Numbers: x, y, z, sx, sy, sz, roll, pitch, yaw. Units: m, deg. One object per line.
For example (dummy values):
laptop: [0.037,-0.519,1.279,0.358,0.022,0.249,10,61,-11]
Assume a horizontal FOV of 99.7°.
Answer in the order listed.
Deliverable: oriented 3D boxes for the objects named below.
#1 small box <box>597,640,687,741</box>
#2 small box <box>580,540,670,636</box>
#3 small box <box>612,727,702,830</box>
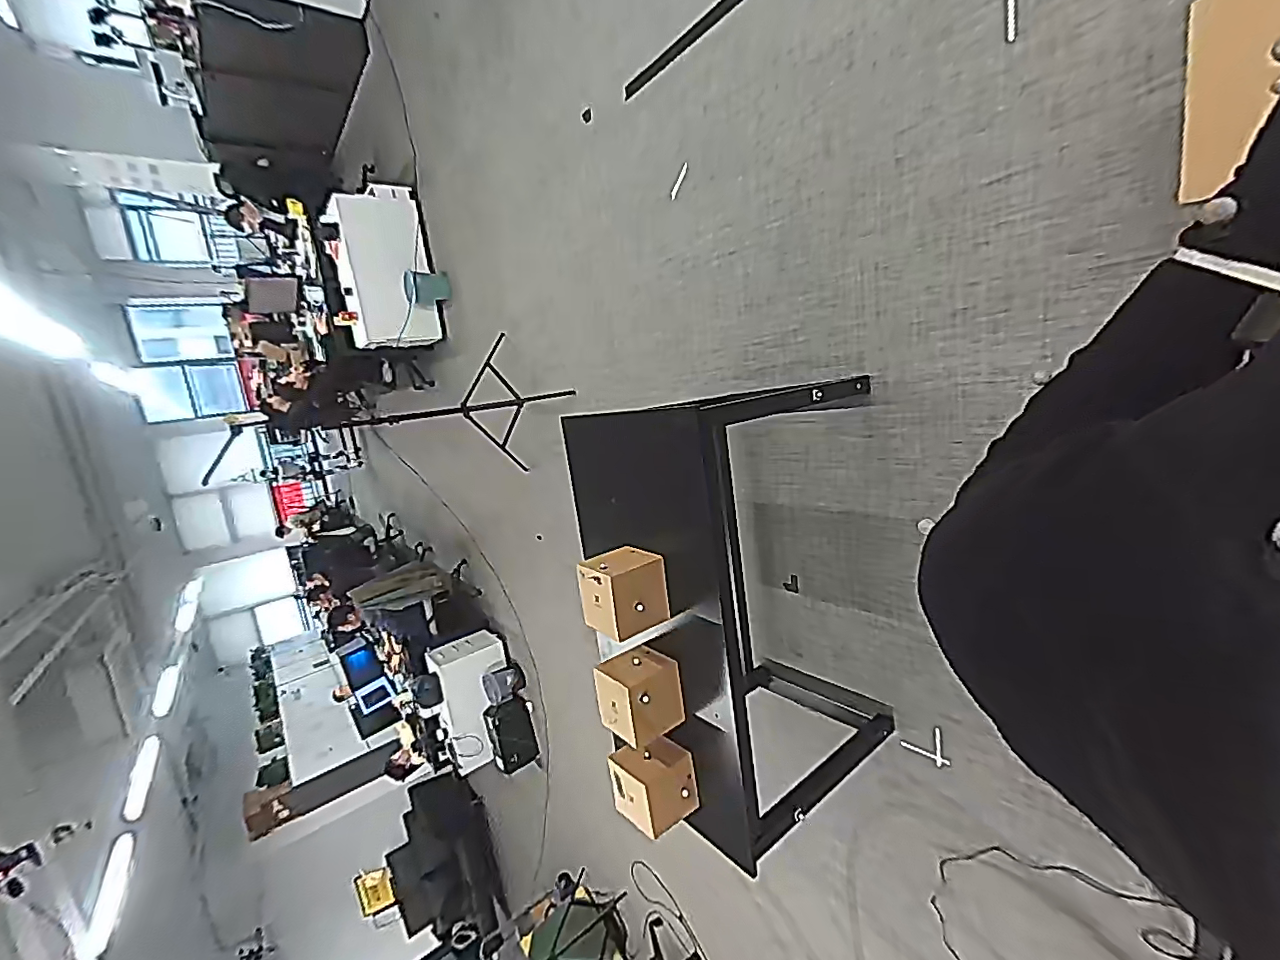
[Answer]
small box: [0.007,0.562,1.473,0.168,0.176,0.179,5,106,54]
small box: [-0.035,0.276,1.424,0.168,0.176,0.179,8,110,53]
small box: [0.048,0.822,1.518,0.179,0.176,0.168,2,104,53]
